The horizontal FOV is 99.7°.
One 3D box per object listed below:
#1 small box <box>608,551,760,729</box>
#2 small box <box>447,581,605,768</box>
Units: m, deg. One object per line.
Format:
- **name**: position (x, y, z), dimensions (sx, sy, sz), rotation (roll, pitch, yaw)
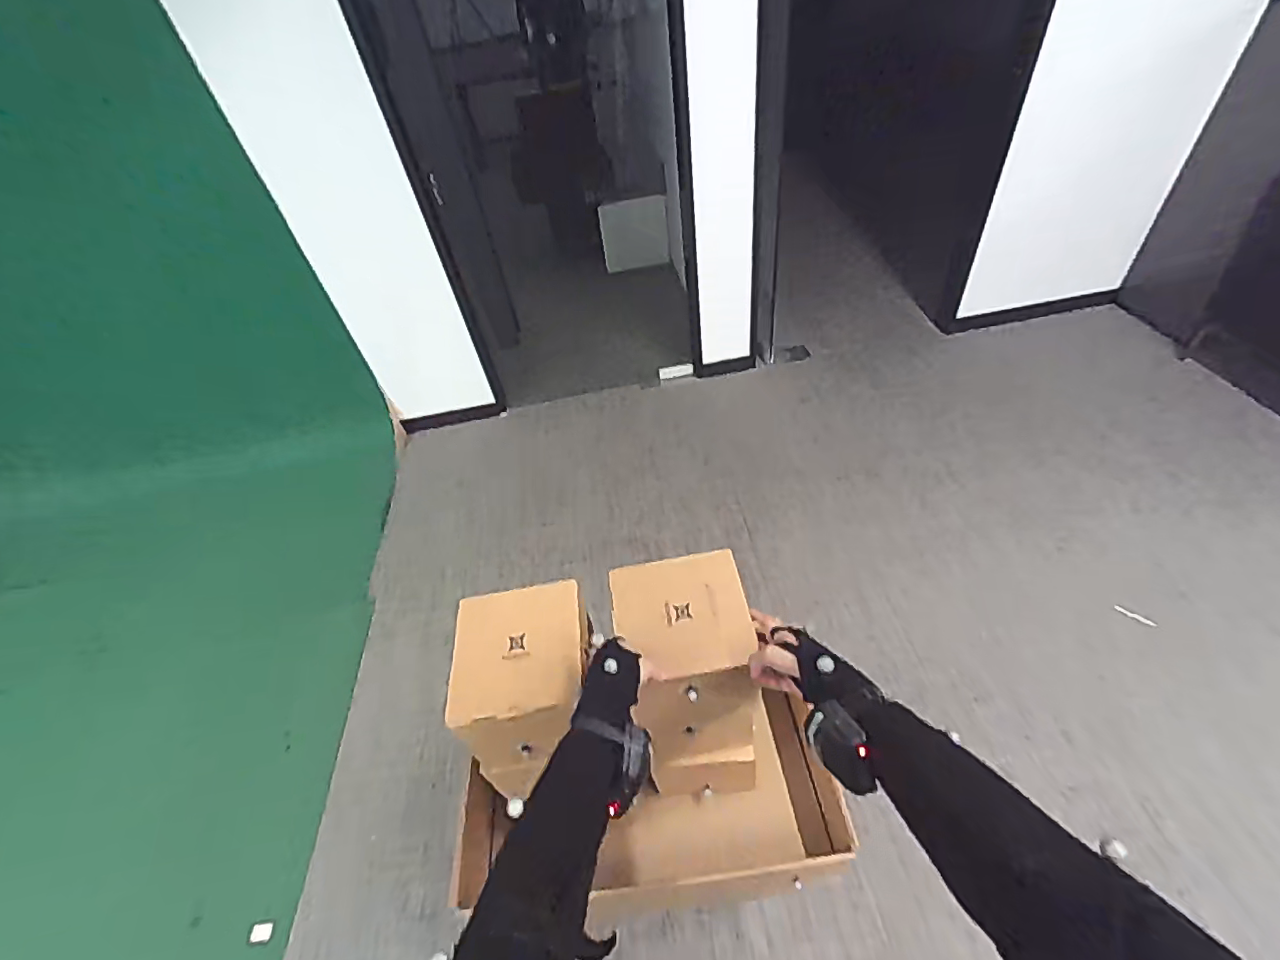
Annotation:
- **small box**: position (0.062, 0.225, 0.746), dimensions (0.179, 0.176, 0.168), rotation (-10, 47, 2)
- **small box**: position (-0.146, 0.268, 0.746), dimensions (0.168, 0.176, 0.179), rotation (-10, 45, 0)
